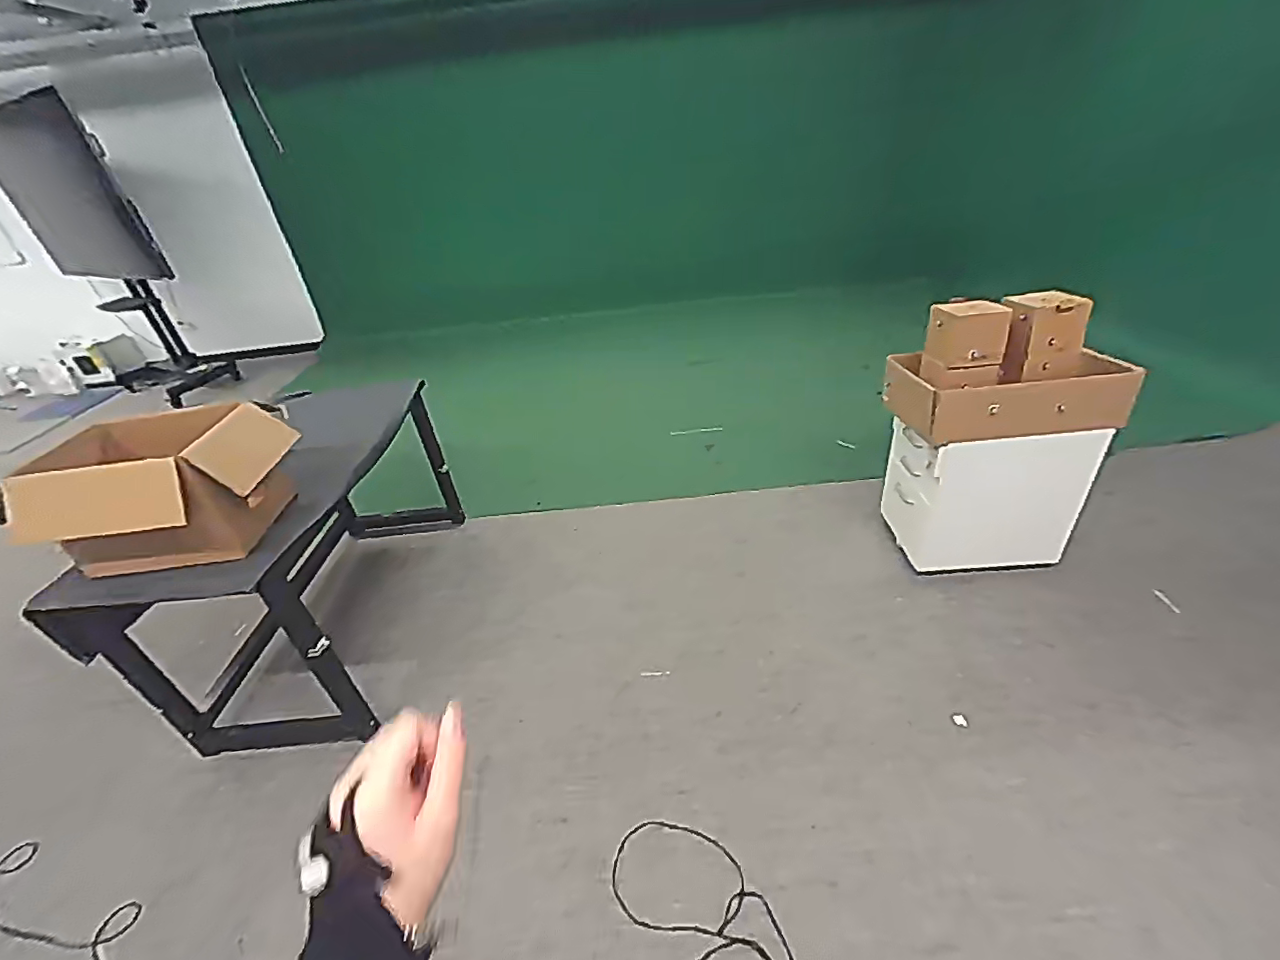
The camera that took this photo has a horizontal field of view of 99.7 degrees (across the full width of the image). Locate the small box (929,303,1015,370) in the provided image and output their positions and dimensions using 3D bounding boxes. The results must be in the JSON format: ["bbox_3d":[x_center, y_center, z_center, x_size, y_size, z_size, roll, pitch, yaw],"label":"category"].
[{"bbox_3d":[1.053,-0.459,1.734,0.168,0.176,0.179,-6,28,3],"label":"small box"}]

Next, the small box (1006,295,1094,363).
[{"bbox_3d":[1.286,-0.484,1.728,0.168,0.176,0.179,-7,28,3],"label":"small box"}]

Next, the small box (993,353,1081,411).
[{"bbox_3d":[1.311,-0.340,1.801,0.168,0.176,0.179,-8,27,5],"label":"small box"}]
